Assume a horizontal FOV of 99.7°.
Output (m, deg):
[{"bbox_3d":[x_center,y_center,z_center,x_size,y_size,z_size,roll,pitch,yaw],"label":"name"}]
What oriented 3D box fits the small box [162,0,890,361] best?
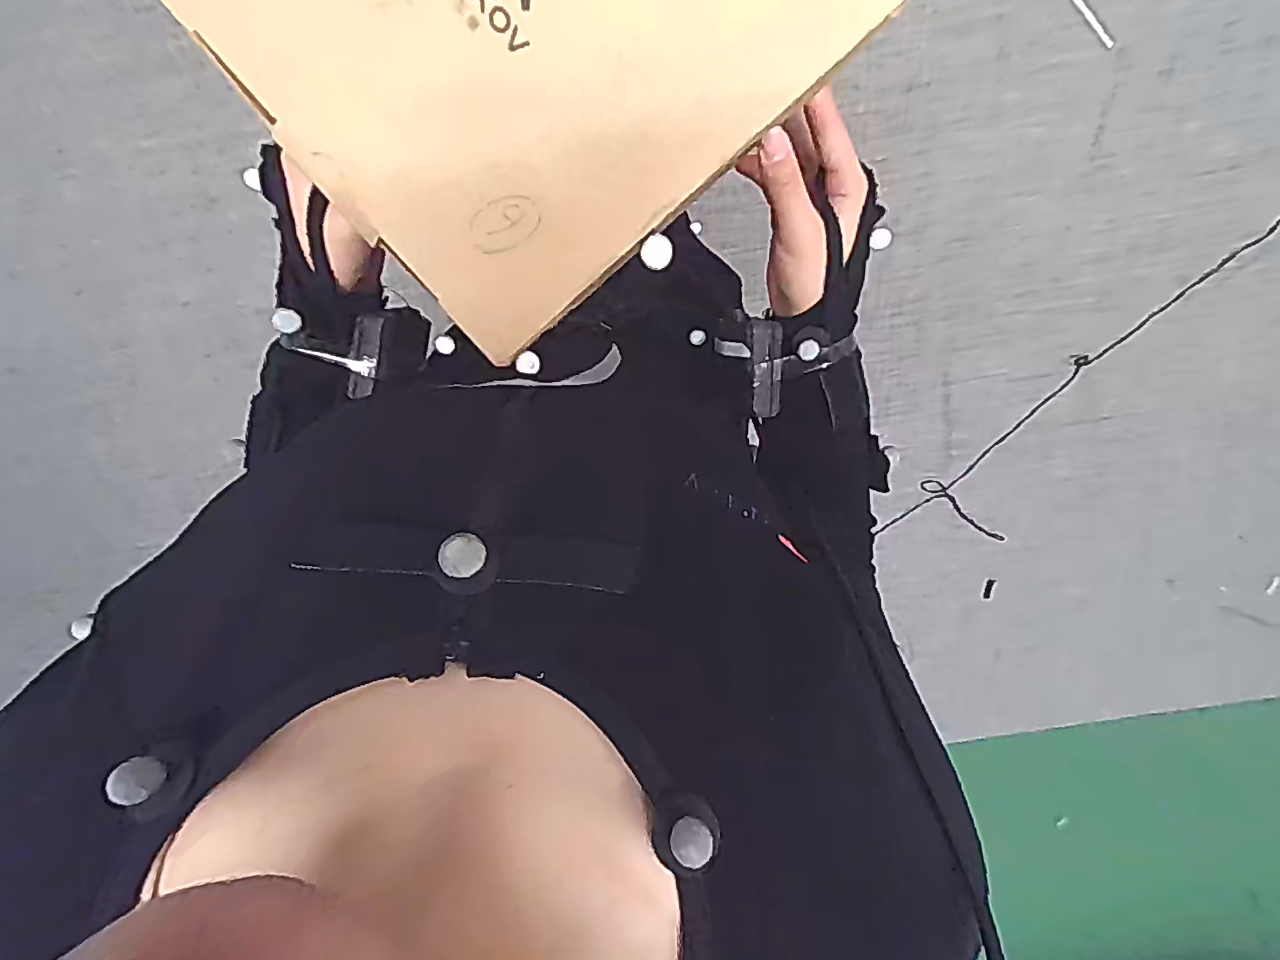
[{"bbox_3d":[-0.035,-0.182,0.234,0.179,0.176,0.168,-36,108,18],"label":"small box"}]
